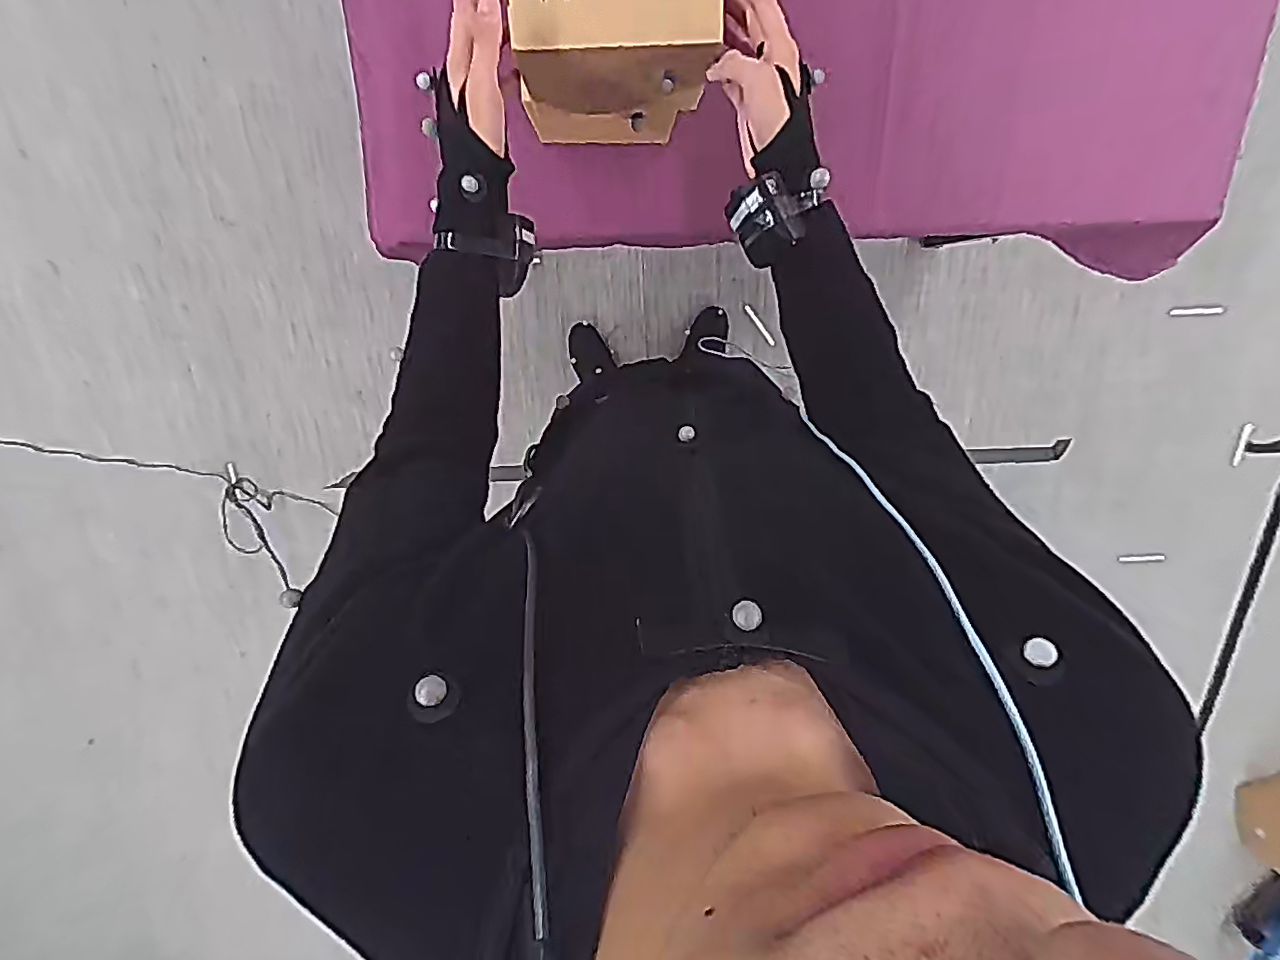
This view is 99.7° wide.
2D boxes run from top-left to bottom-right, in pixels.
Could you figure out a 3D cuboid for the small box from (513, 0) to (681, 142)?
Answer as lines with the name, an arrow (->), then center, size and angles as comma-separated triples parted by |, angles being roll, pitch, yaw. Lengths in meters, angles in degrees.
small box -> -0.048, -0.513, 0.635 | 0.179, 0.176, 0.168 | -1, 108, -2
